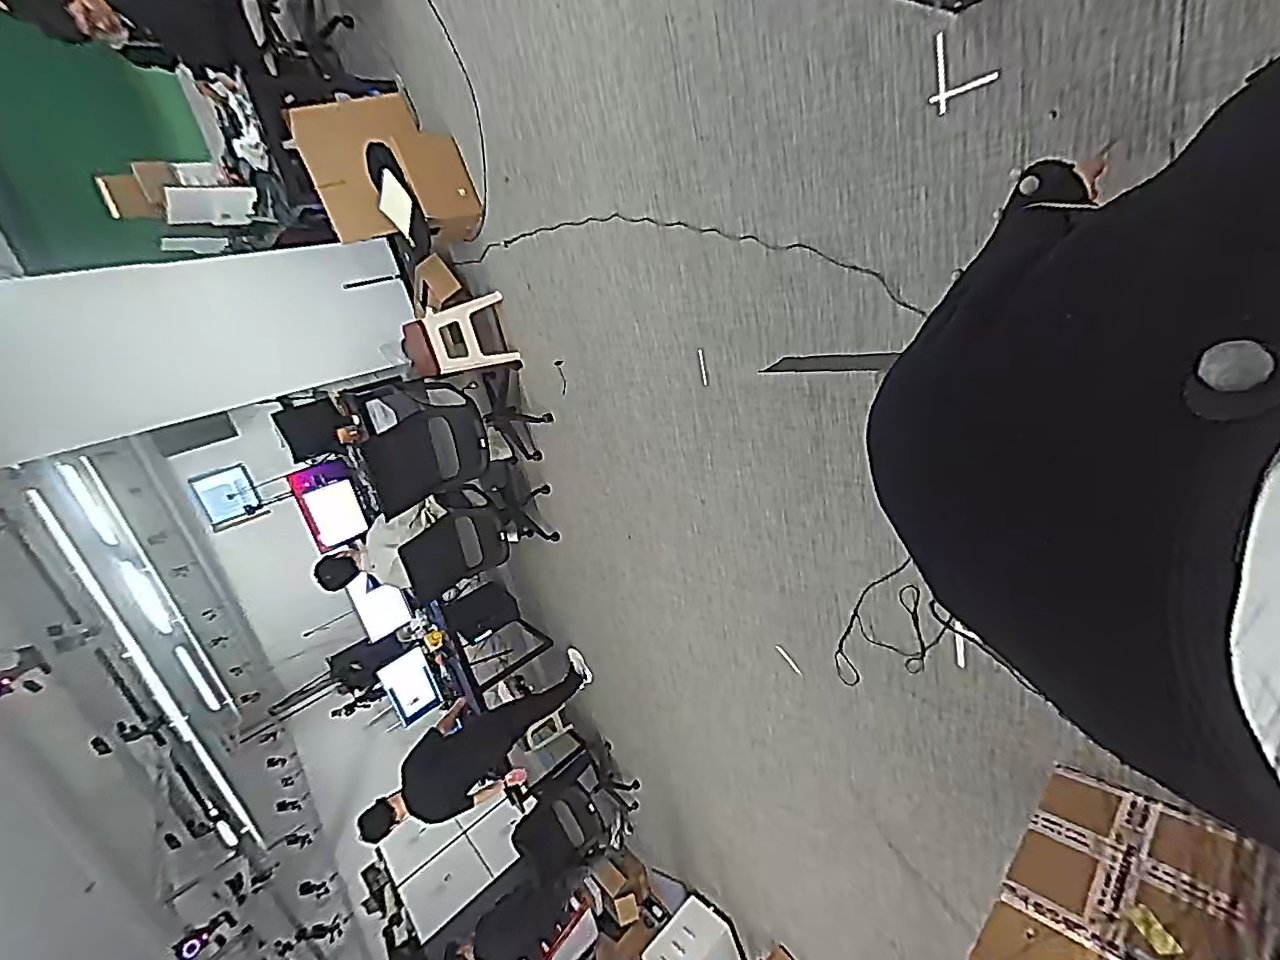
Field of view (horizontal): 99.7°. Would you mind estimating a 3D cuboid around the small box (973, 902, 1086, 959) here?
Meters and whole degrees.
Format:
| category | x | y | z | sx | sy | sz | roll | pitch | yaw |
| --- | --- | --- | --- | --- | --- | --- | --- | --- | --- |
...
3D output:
| category | x | y | z | sx | sy | sz | roll | pitch | yaw |
| --- | --- | --- | --- | --- | --- | --- | --- | --- | --- |
| small box | 0.924 | 1.157 | 1.277 | 0.179 | 0.176 | 0.168 | 0 | 109 | 53 |
